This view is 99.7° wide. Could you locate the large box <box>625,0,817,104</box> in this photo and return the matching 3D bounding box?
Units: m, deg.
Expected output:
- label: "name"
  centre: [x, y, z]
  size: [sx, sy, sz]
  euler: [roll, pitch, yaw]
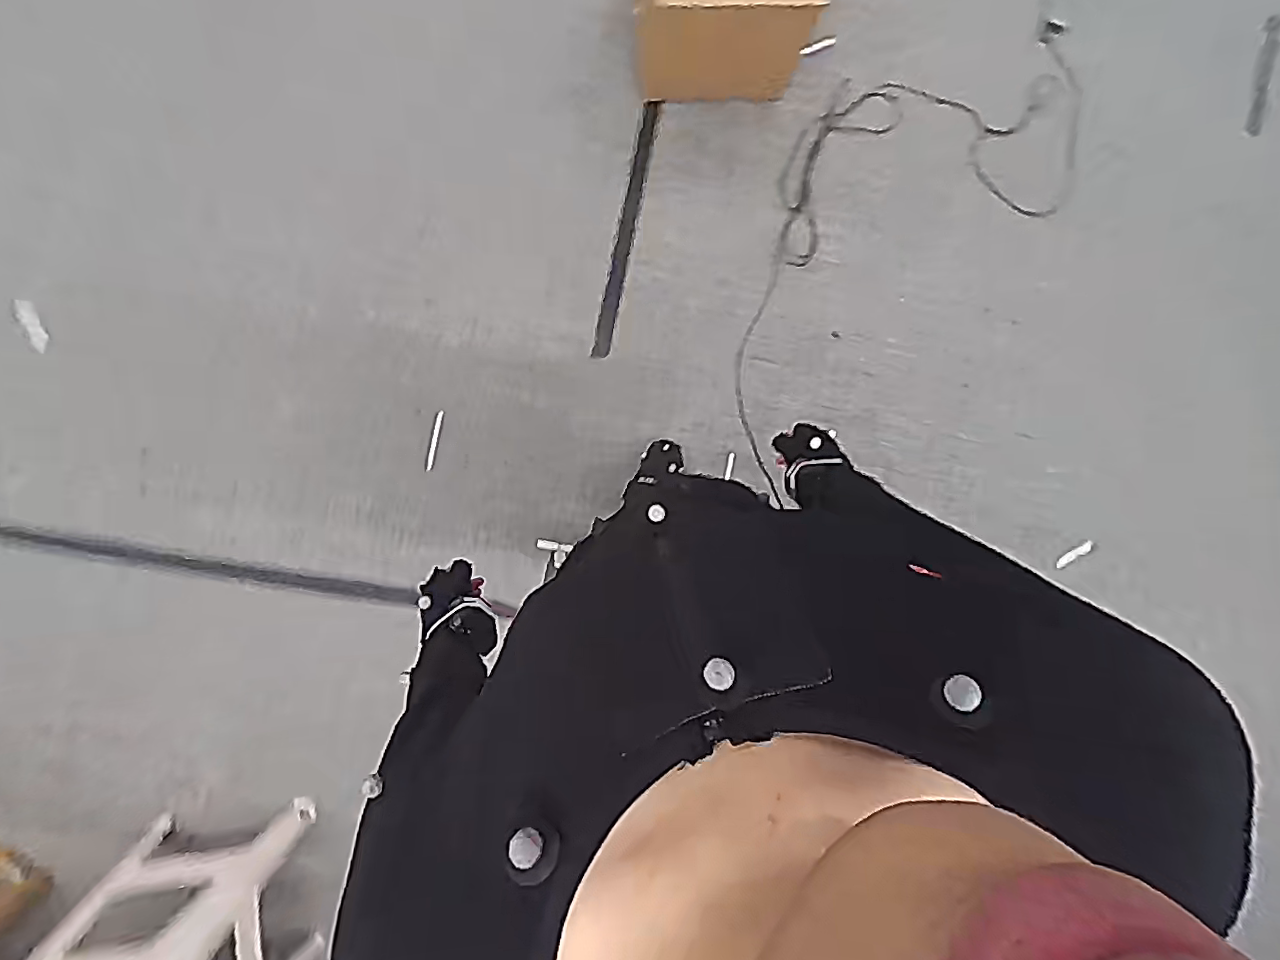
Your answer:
- label: "large box"
  centre: [0.186, -1.227, 1.393]
  size: [0.408, 0.320, 0.320]
  euler: [-6, 90, -7]
